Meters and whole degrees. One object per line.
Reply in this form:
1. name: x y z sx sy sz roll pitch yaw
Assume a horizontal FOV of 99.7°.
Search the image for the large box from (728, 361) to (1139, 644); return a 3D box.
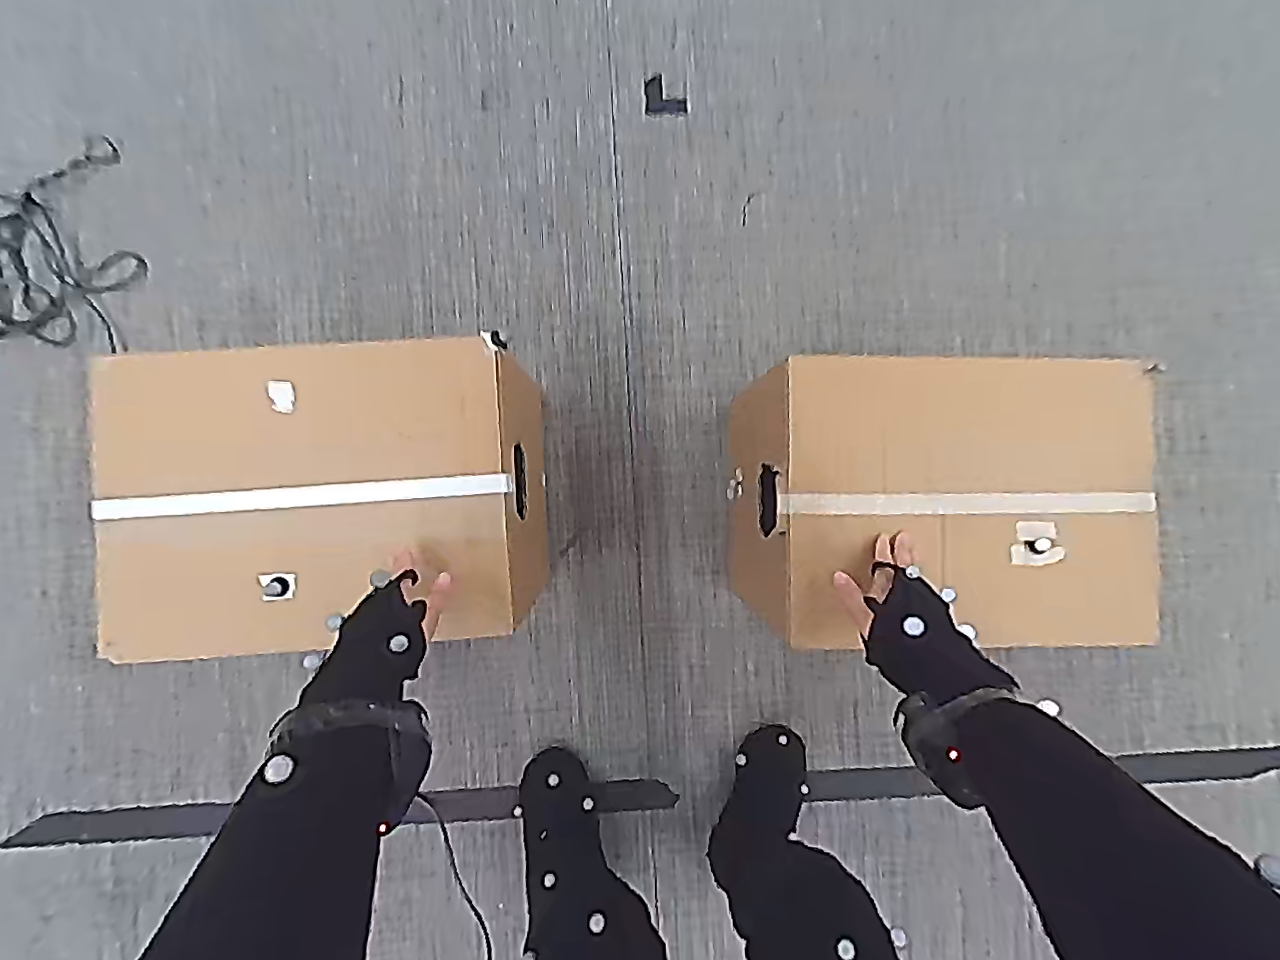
1. large box: 0.351 0.027 0.748 0.408 0.320 0.320 0 89 -3
